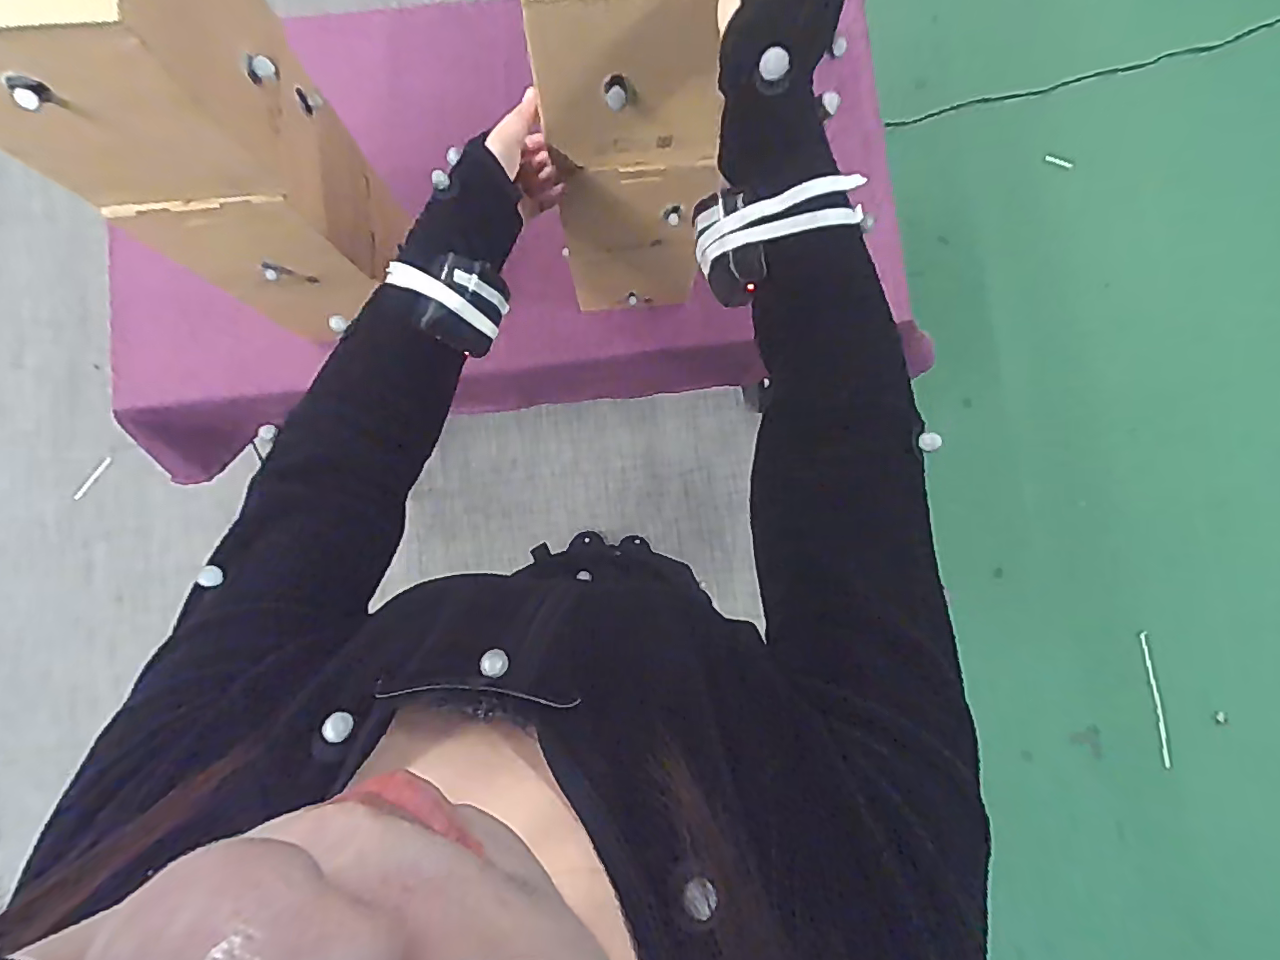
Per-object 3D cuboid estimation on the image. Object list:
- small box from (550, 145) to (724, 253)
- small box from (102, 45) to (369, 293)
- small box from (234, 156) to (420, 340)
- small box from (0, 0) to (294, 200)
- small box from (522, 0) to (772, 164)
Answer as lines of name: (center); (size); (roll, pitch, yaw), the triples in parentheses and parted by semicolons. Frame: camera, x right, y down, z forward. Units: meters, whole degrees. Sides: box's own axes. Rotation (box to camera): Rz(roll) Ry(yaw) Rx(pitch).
small box: (-0.010, -0.366, 0.591); (0.168, 0.176, 0.179); (-6, 86, -3)
small box: (-0.412, -0.323, 0.576); (0.168, 0.176, 0.179); (-6, 86, -1)
small box: (-0.416, -0.305, 0.741); (0.179, 0.176, 0.168); (-8, 85, -3)
small box: (-0.403, -0.339, 0.413); (0.179, 0.176, 0.168); (-5, 85, -3)
small box: (-0.005, -0.379, 0.428); (0.168, 0.176, 0.179); (-6, 86, -4)
